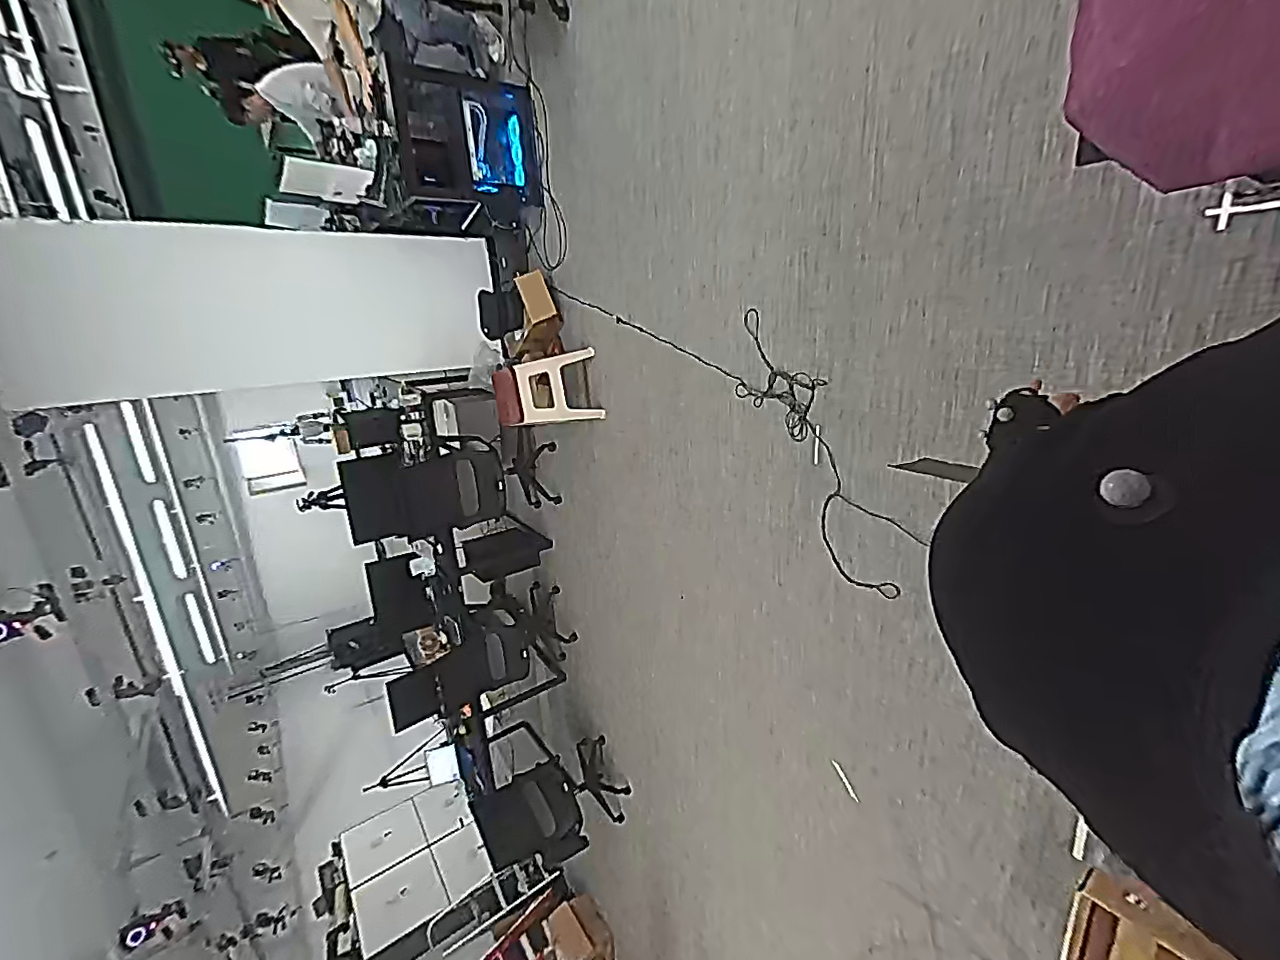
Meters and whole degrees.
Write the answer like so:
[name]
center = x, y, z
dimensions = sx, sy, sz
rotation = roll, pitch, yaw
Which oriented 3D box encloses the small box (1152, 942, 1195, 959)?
[small box]
center = 1.240, 1.218, 1.219
dimensions = 0.168, 0.176, 0.179
rotation = 25, 122, 49
